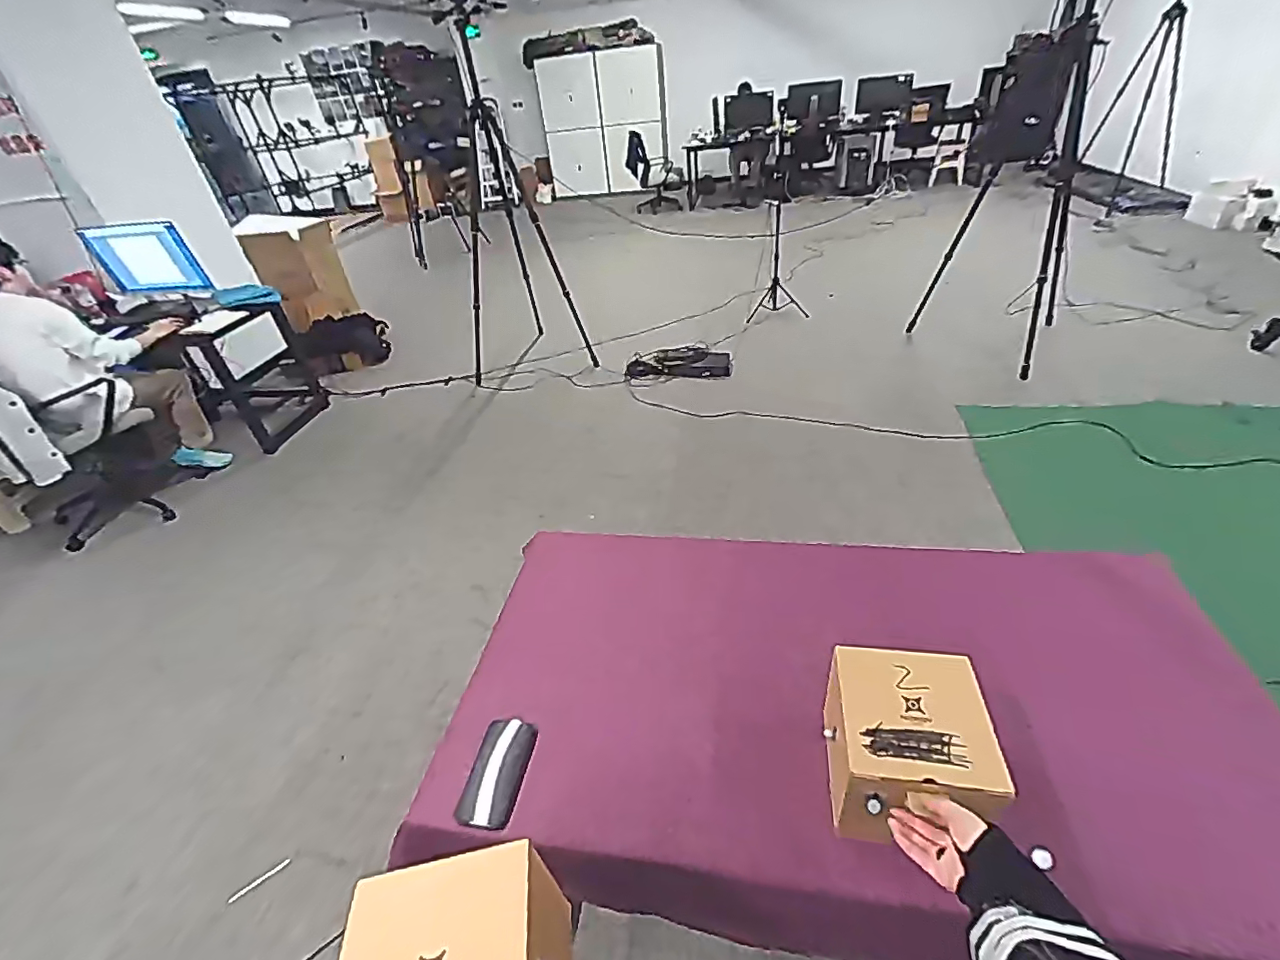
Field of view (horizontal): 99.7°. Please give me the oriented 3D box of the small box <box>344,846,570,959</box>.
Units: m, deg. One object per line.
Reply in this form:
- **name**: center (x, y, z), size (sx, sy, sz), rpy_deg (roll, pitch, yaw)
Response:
- **small box**: center (-0.159, 0.478, 0.488), size (0.168, 0.176, 0.179), rpy_deg (-13, 35, -2)
